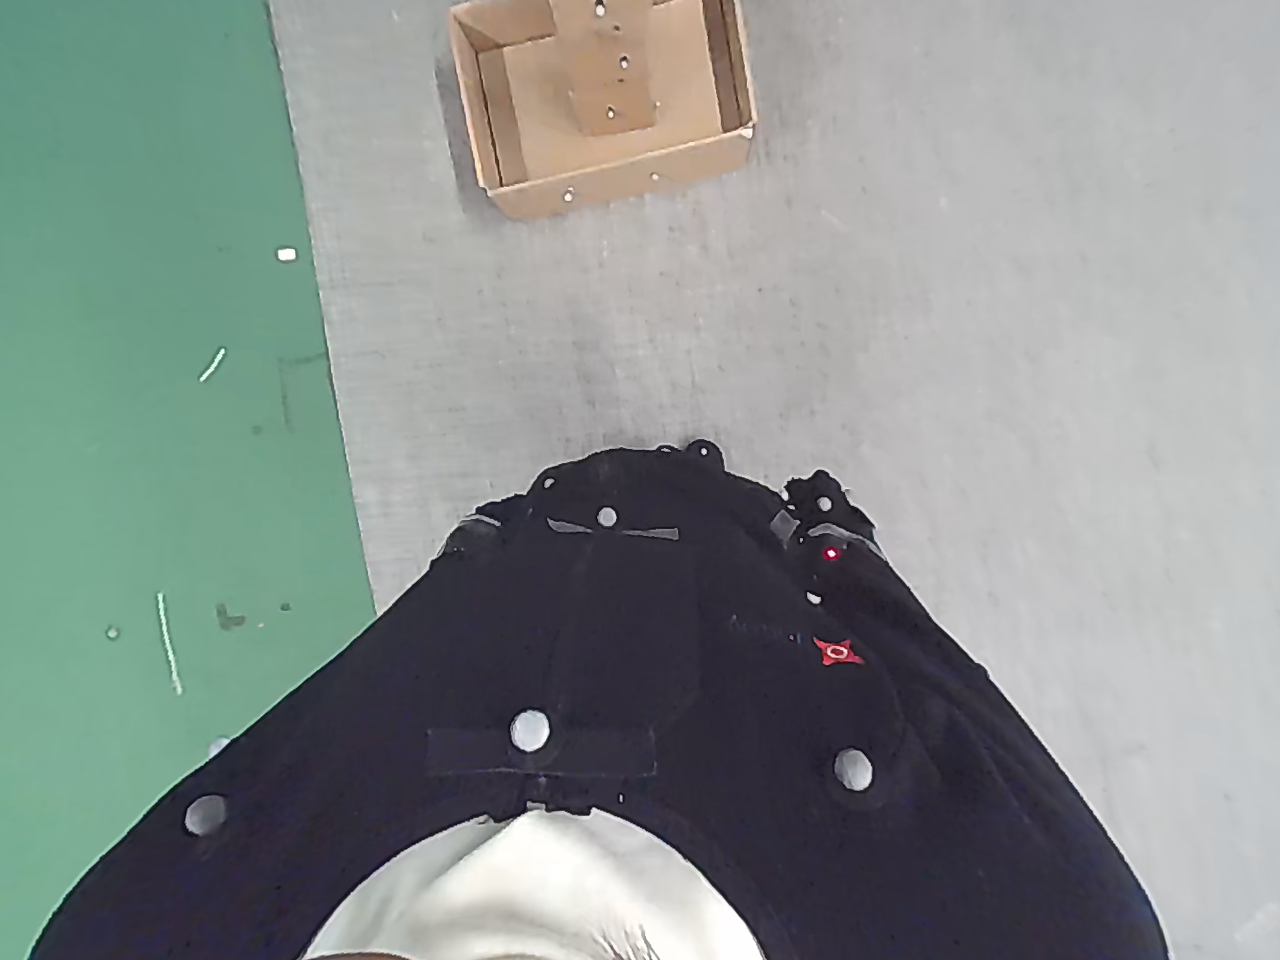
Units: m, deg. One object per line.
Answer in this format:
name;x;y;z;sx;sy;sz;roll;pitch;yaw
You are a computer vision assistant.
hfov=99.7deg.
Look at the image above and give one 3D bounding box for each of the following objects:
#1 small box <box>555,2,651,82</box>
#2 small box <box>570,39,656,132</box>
small box;-0.066;-0.908;1.046;0.168;0.176;0.179;-1;95;5
small box;-0.057;-0.923;1.223;0.179;0.176;0.168;-2;95;8
